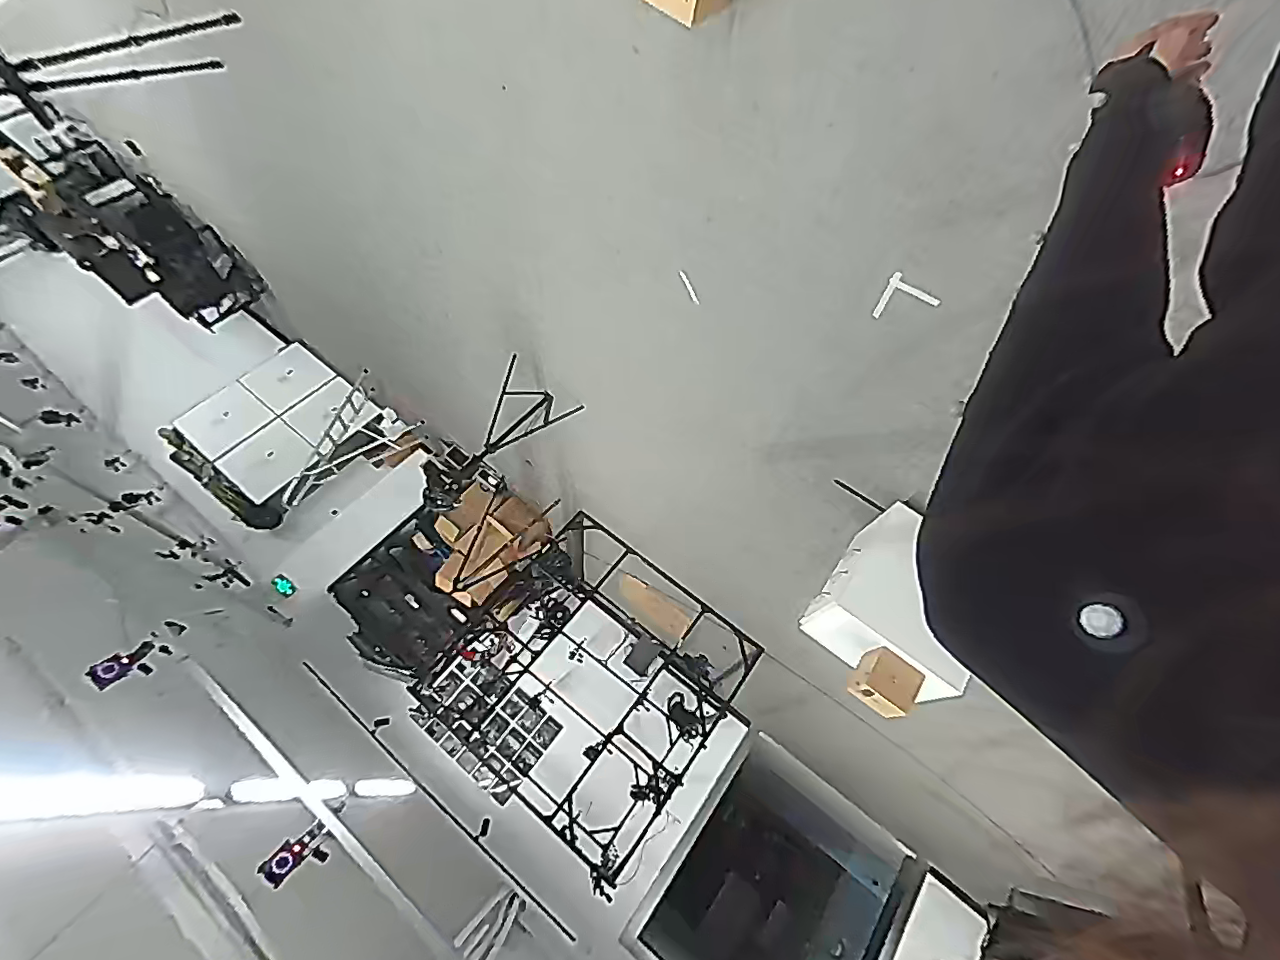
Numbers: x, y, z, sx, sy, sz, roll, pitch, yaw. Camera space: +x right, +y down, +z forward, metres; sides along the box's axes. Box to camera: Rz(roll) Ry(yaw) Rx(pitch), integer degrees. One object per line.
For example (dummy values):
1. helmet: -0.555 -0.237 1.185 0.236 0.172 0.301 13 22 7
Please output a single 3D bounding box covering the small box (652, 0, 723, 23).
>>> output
1. small box: 0.120 -1.272 1.314 0.179 0.176 0.168 38 156 9
